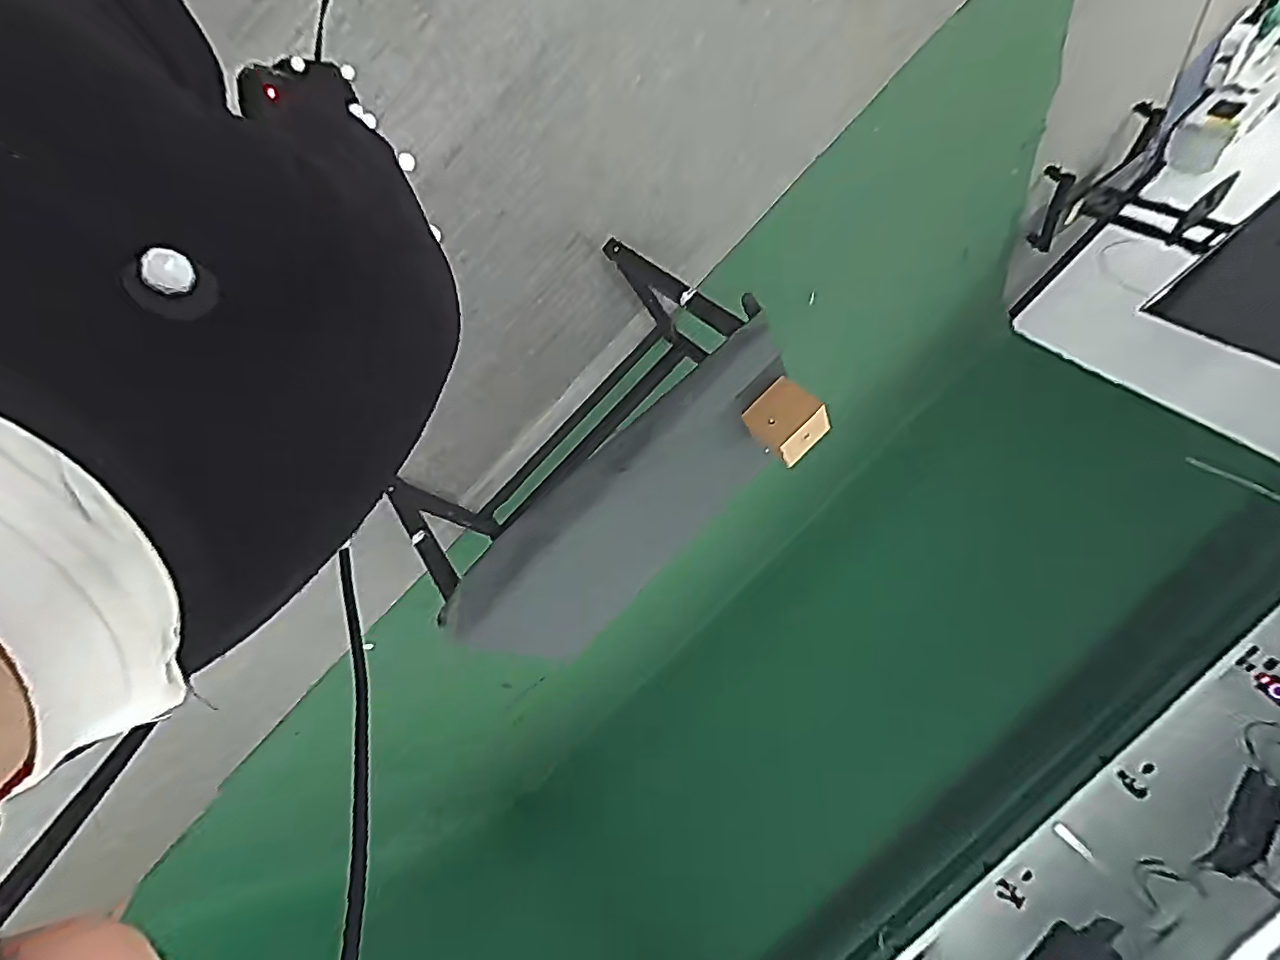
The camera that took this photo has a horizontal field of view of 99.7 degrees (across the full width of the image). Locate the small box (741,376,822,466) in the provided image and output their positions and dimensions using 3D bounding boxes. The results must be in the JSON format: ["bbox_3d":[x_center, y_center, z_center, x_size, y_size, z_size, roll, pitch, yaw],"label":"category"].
[{"bbox_3d":[0.428,-0.181,1.651,0.179,0.176,0.168,-44,150,0],"label":"small box"}]
